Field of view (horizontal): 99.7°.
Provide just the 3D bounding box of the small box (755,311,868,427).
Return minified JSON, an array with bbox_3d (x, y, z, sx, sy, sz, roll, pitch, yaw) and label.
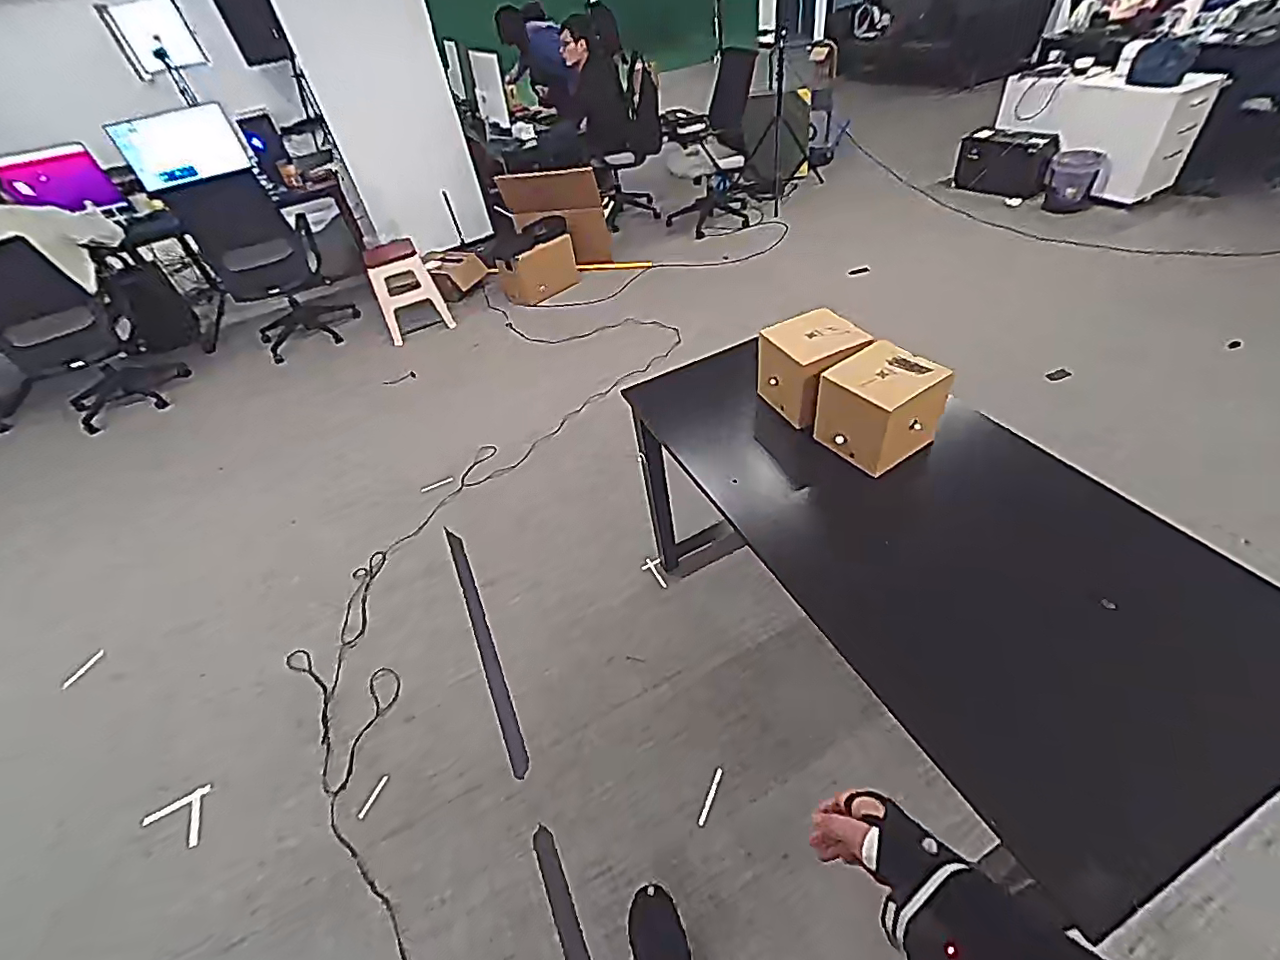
[{"bbox_3d":[0.375,-0.245,1.203,0.179,0.176,0.168,-22,45,-11],"label":"small box"}]
